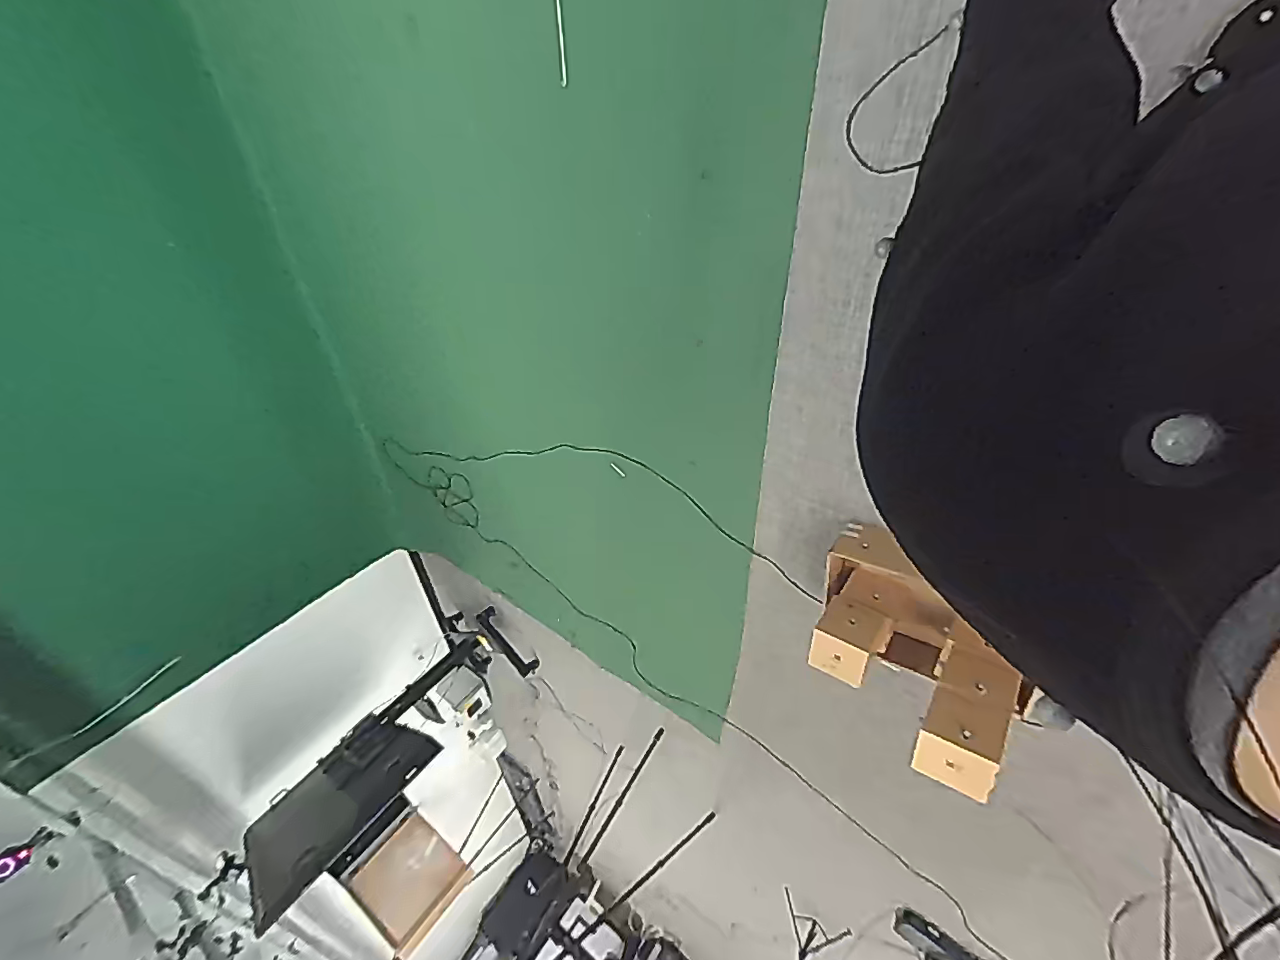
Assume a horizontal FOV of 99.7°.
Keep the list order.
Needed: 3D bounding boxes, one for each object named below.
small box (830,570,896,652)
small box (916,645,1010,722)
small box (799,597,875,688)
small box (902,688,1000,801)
[{"bbox_3d":[0.727,0.426,1.790,0.179,0.176,0.168,20,131,30],"label":"small box"},{"bbox_3d":[0.900,0.595,1.506,0.179,0.176,0.168,22,130,31],"label":"small box"},{"bbox_3d":[0.618,0.500,1.689,0.168,0.176,0.179,21,132,31],"label":"small box"},{"bbox_3d":[0.804,0.671,1.400,0.179,0.176,0.168,16,127,33],"label":"small box"}]
